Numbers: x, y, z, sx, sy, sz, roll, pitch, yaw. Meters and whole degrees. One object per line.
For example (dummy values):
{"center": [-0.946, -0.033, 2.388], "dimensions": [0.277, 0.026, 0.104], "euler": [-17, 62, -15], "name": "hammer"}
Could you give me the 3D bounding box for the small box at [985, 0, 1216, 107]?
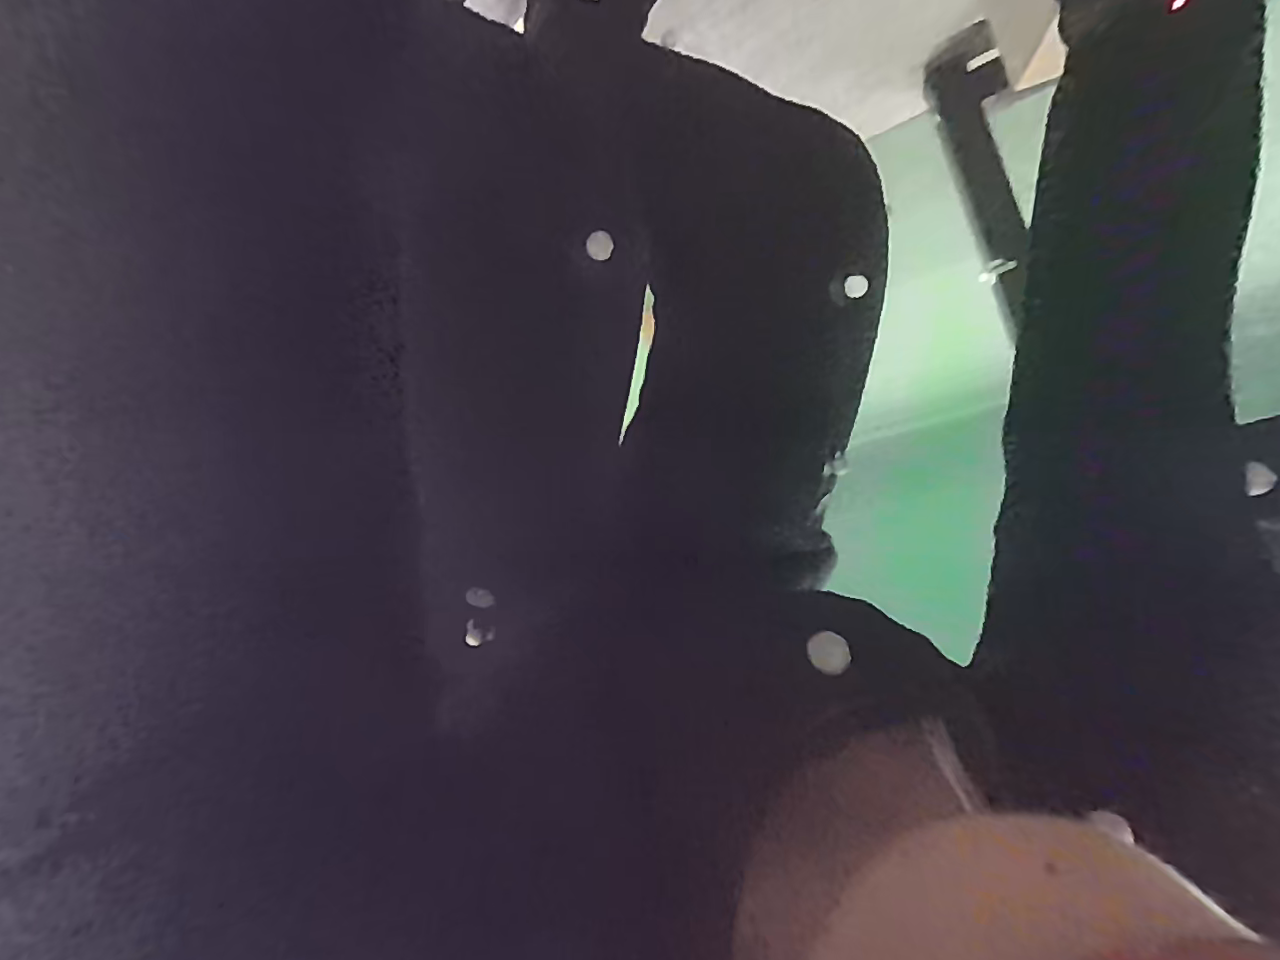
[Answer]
{"center": [0.475, -0.541, 0.545], "dimensions": [0.168, 0.176, 0.179], "euler": [-13, 172, 12], "name": "small box"}
